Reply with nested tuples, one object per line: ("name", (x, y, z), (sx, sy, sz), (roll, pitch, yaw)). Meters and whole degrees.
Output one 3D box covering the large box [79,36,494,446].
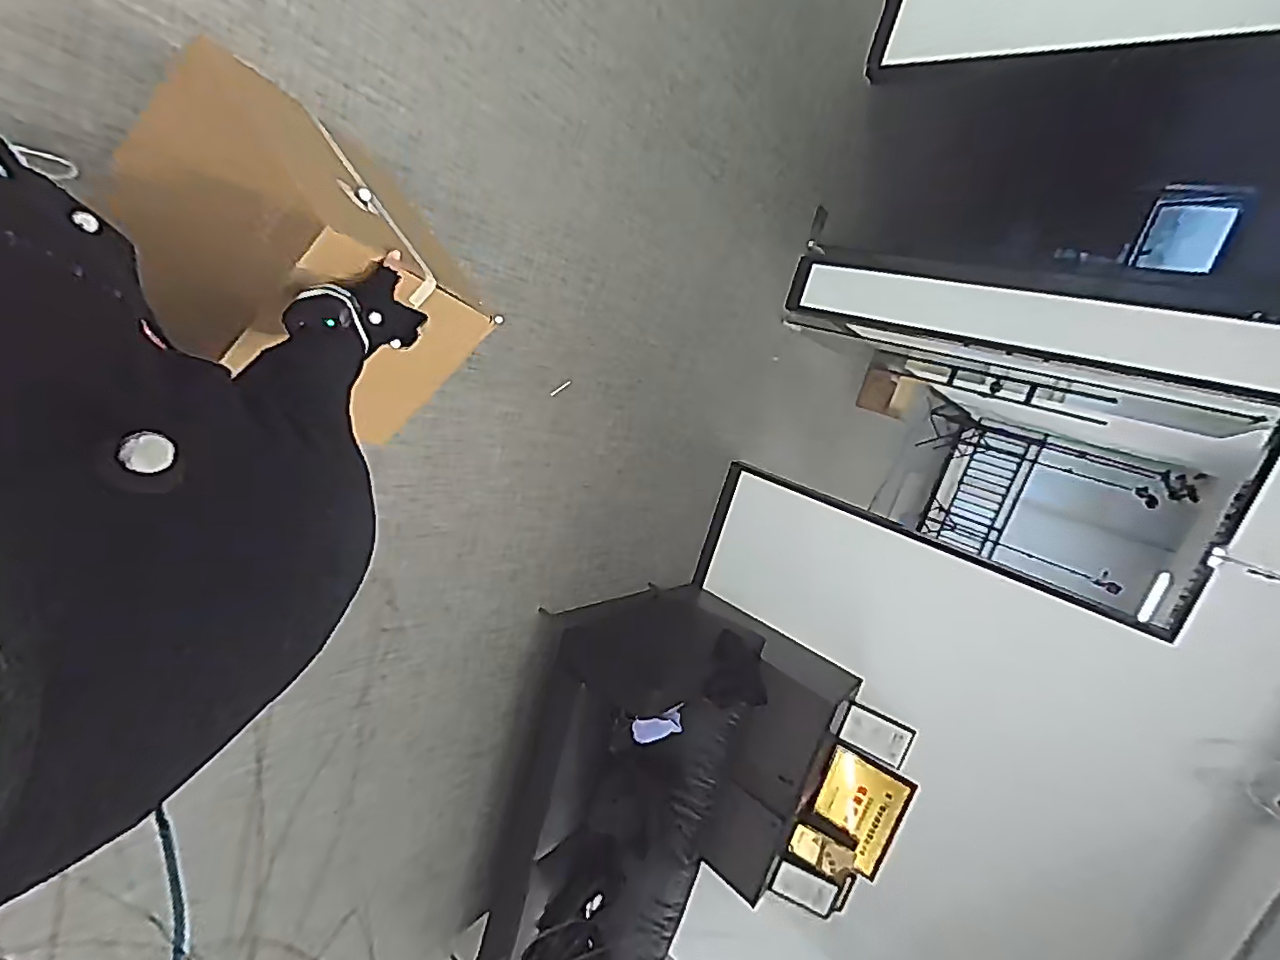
("large box", (-0.511, -0.313, 0.812), (0.320, 0.408, 0.320), (-41, 165, 14))
